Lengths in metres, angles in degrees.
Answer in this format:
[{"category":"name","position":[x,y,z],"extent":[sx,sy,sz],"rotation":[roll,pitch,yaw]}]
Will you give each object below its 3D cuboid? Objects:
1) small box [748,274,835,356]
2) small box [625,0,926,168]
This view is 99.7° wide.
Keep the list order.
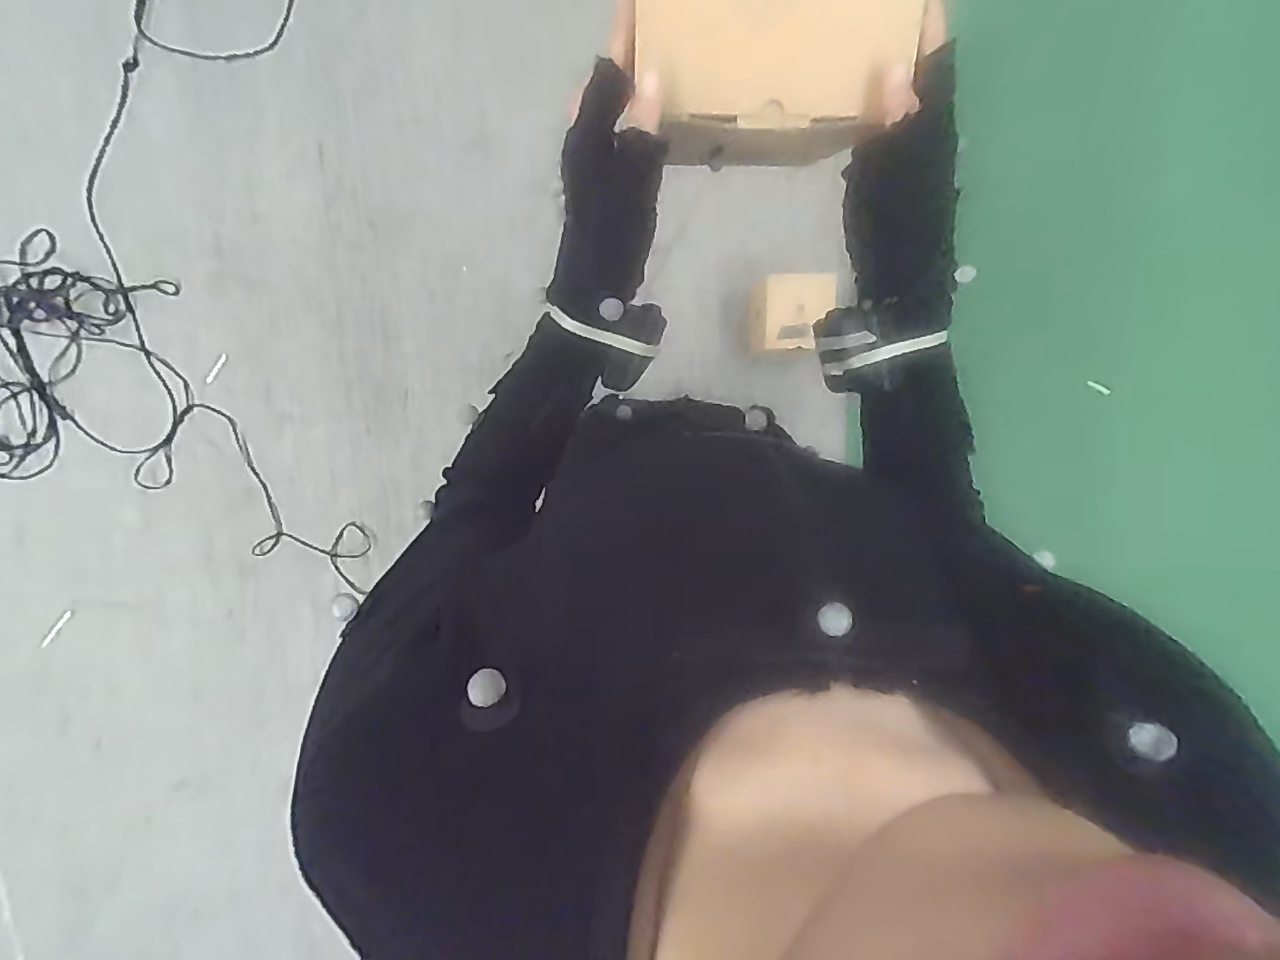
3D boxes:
[{"category":"small box","position":[0.370,-0.404,1.349],"extent":[0.168,0.176,0.179],"rotation":[0,97,-2]},{"category":"small box","position":[0.075,-0.324,0.364],"extent":[0.168,0.176,0.179],"rotation":[-2,113,-2]}]
